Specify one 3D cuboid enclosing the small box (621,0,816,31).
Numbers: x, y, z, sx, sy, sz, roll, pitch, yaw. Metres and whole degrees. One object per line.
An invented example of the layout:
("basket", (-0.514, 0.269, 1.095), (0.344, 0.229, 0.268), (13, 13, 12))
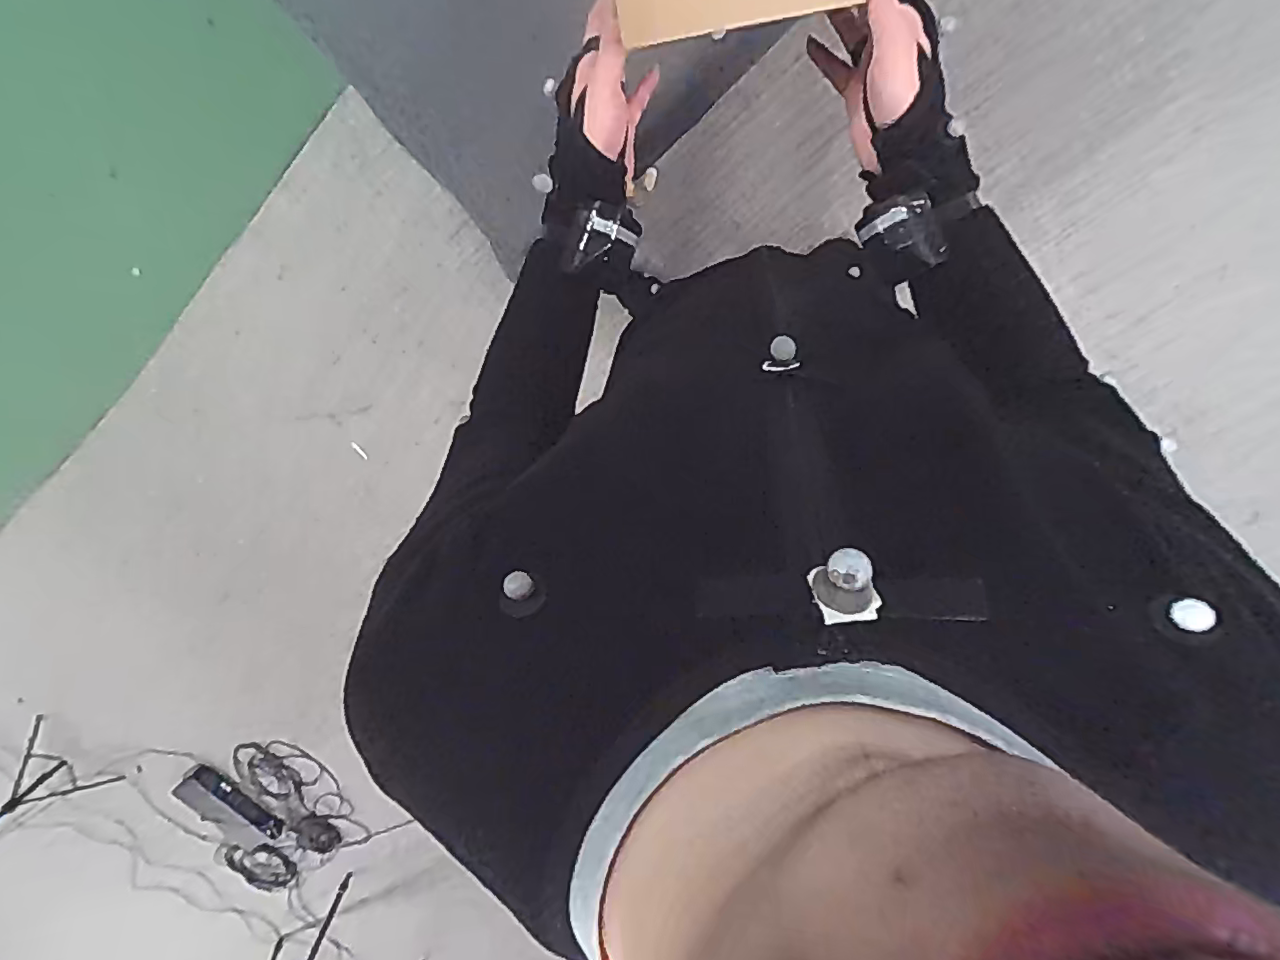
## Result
("small box", (0.059, -0.417, 0.344), (0.168, 0.176, 0.179), (-5, 135, 6))
